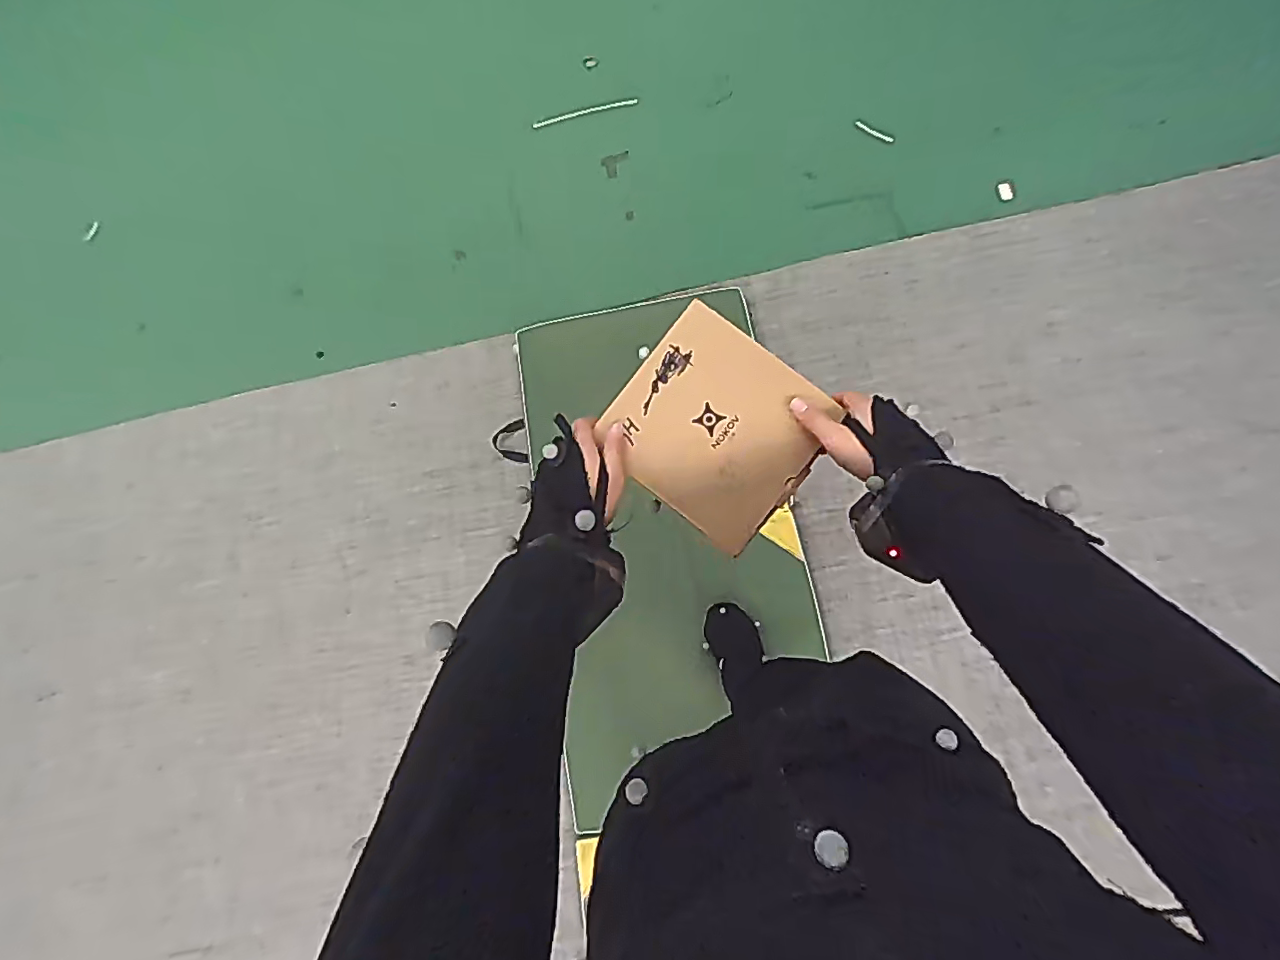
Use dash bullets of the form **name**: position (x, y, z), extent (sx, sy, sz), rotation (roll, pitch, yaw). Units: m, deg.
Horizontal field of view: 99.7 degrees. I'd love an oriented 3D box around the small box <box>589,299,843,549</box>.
- **small box**: position (0.071, -0.050, 0.571), extent (0.179, 0.176, 0.168), rotation (38, 89, 3)
